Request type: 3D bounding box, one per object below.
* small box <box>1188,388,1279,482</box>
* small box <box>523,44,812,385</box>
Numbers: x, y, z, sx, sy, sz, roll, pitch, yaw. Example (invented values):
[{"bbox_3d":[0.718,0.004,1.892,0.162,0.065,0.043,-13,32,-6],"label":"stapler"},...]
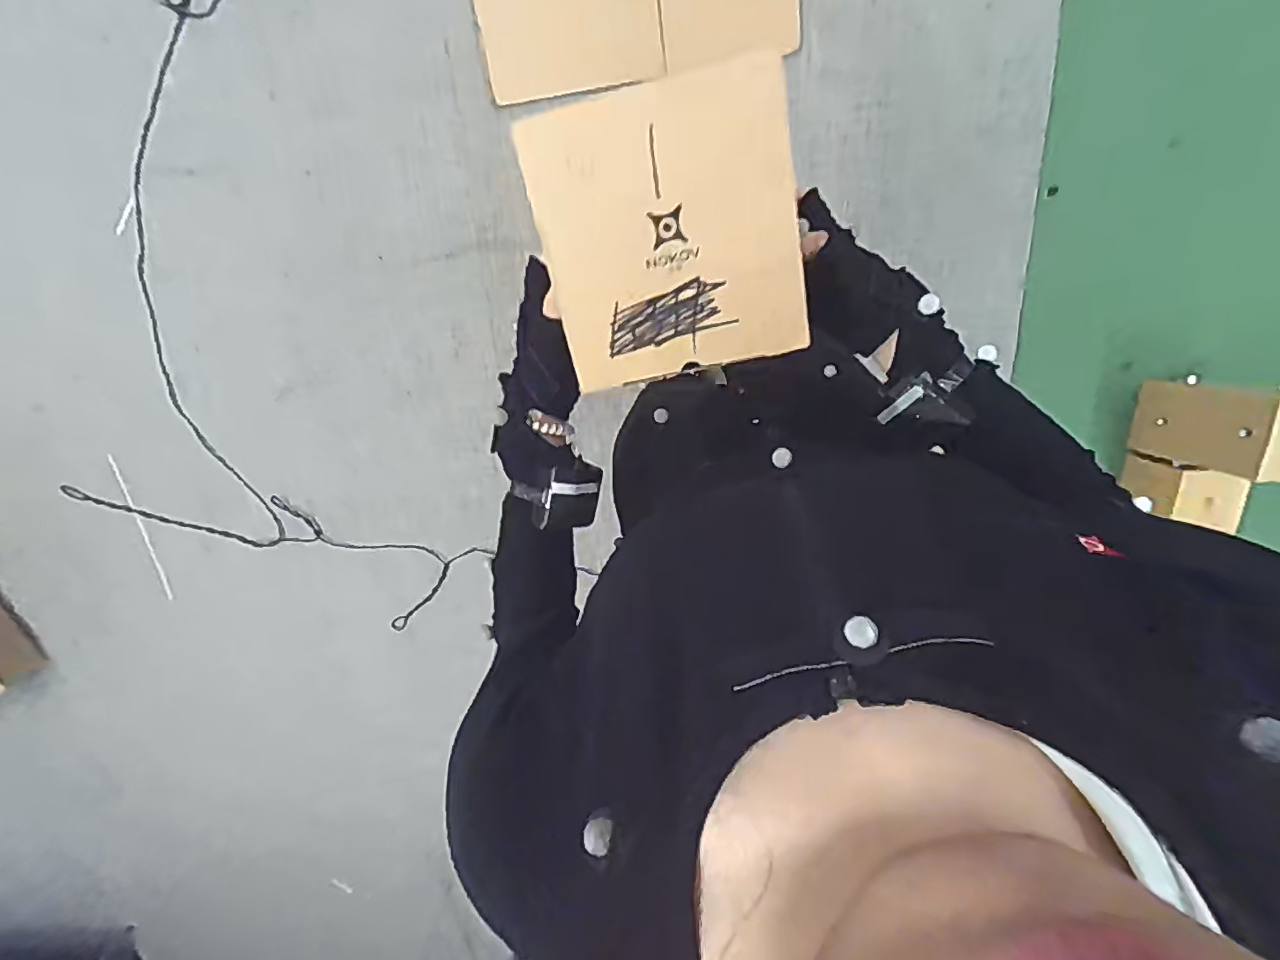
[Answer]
[{"bbox_3d":[1.354,-0.104,1.166,0.168,0.176,0.179,-2,108,4],"label":"small box"},{"bbox_3d":[0.030,-0.192,0.422,0.168,0.176,0.179,-9,113,8],"label":"small box"}]
